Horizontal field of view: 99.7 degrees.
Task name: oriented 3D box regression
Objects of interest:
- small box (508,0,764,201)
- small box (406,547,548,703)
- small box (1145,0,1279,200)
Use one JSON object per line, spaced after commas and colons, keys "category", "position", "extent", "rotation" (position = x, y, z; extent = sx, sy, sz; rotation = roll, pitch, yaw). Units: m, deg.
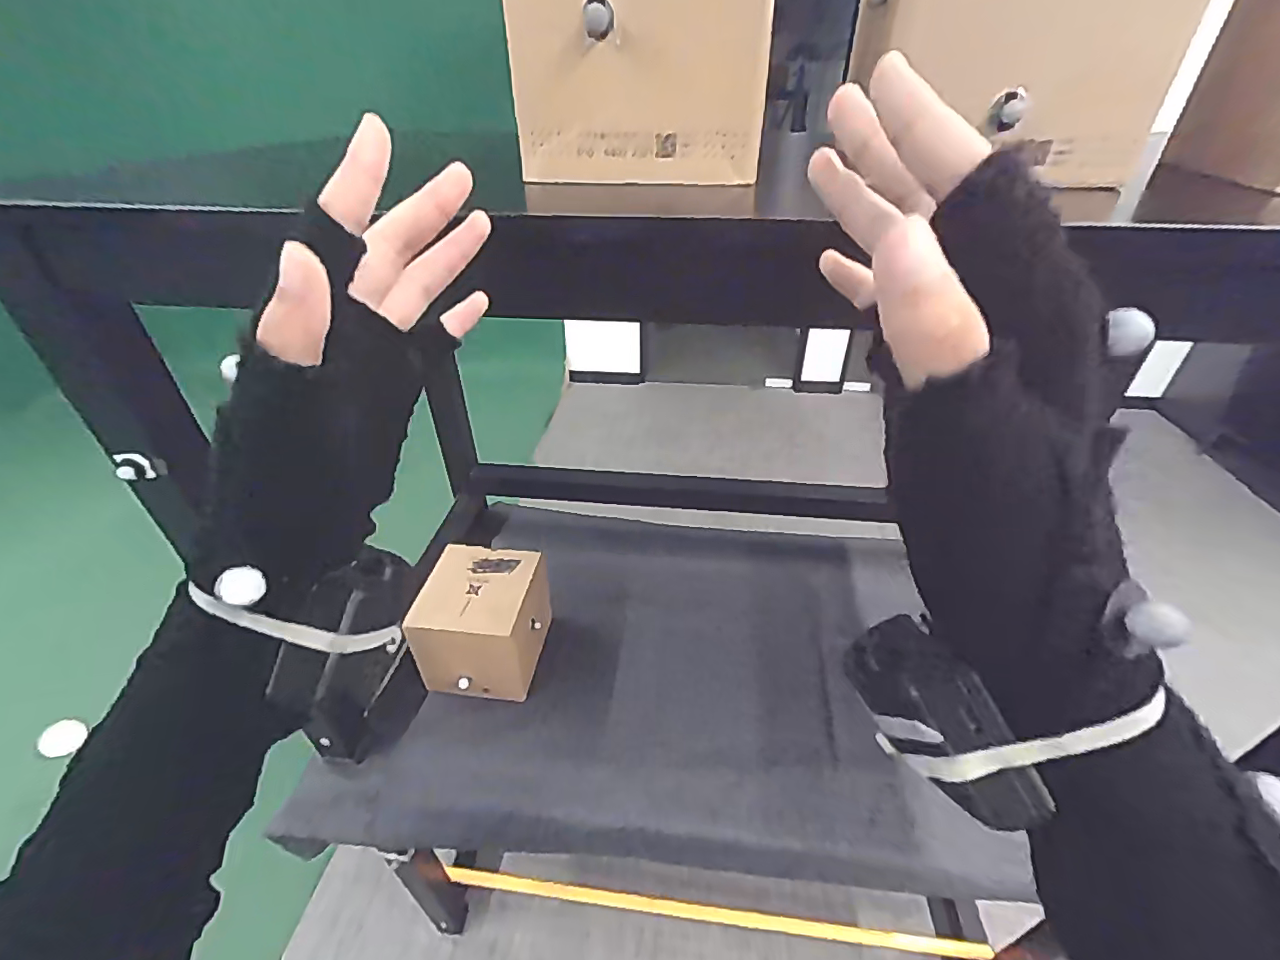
{"category": "small box", "position": [0.007, -0.320, 0.418], "extent": [0.168, 0.176, 0.179], "rotation": [4, 35, 6]}
{"category": "small box", "position": [-0.254, 0.235, 0.894], "extent": [0.168, 0.176, 0.179], "rotation": [4, 36, 5]}
{"category": "small box", "position": [0.486, -0.272, 0.341], "extent": [0.168, 0.176, 0.179], "rotation": [11, 37, 15]}
